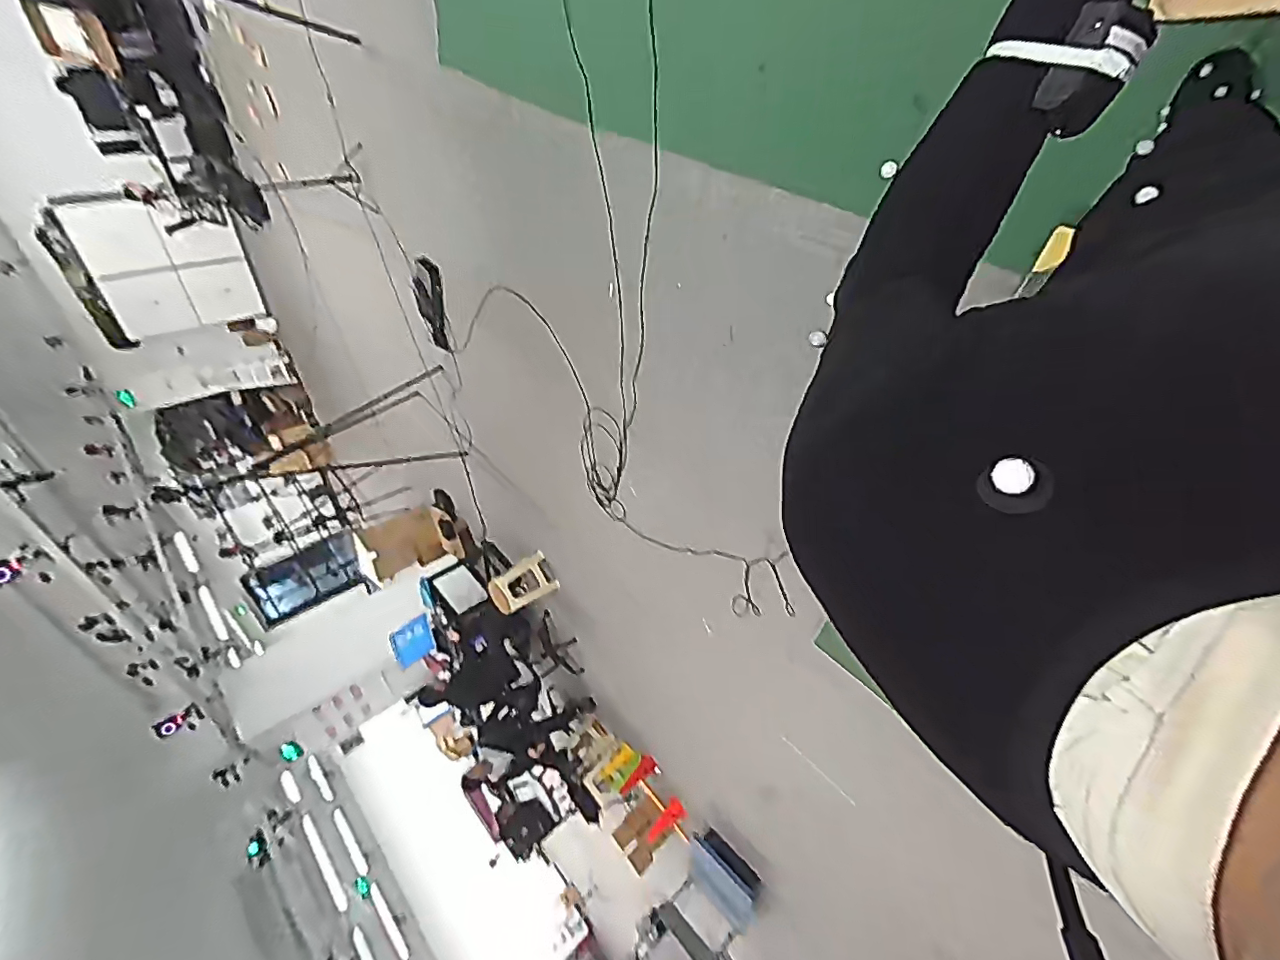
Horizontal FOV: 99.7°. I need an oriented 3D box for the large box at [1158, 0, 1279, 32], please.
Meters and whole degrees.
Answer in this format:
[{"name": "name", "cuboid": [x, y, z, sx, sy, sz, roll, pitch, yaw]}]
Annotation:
[{"name": "large box", "cuboid": [0.576, -0.437, 0.250, 0.408, 0.320, 0.320, 25, 135, 35]}]
